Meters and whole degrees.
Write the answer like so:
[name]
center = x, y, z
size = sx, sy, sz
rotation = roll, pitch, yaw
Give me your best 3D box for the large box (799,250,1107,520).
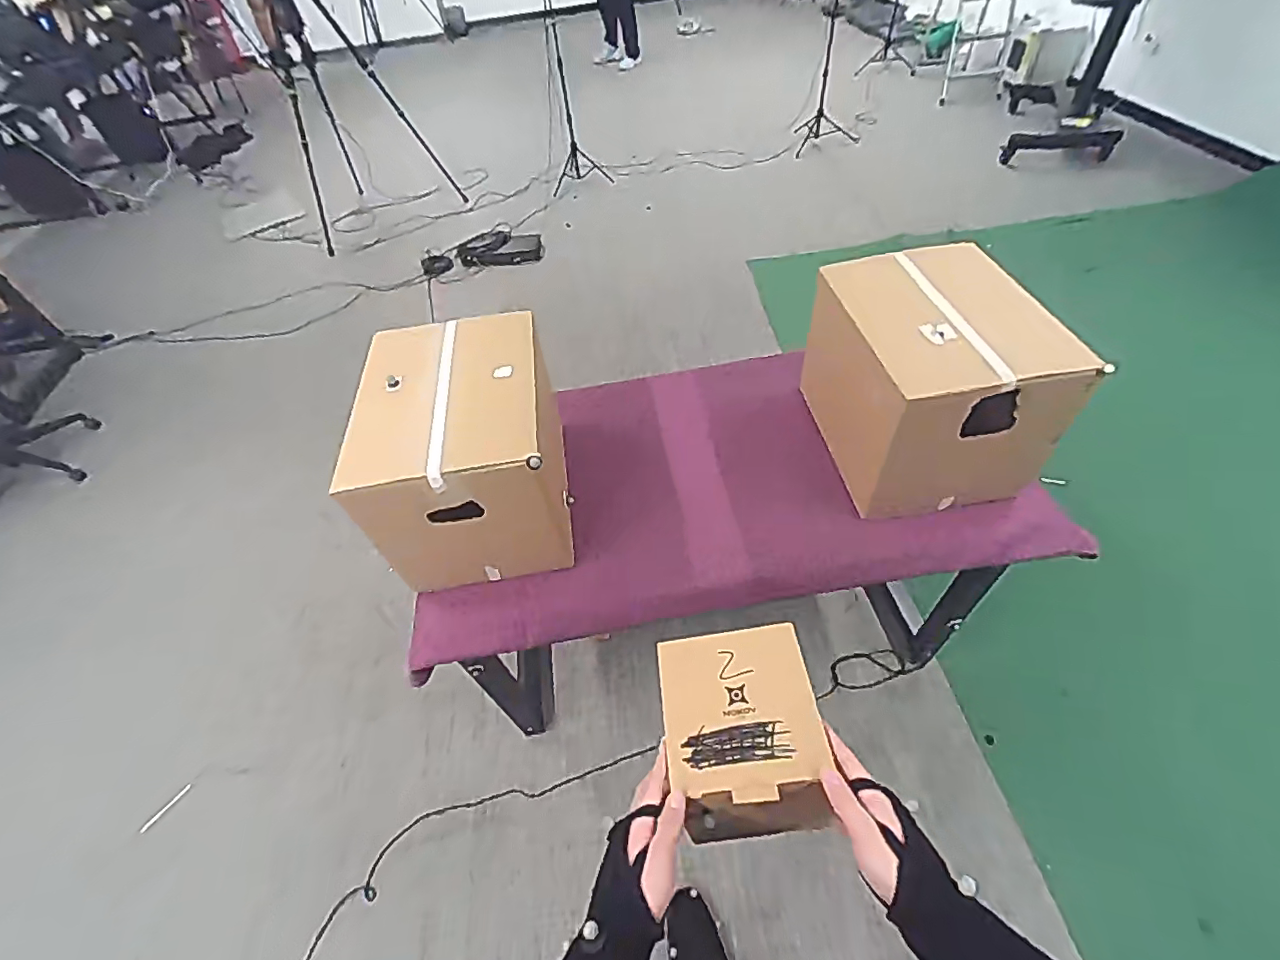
[large box]
center = 0.538, -0.186, 1.047
size = 0.320, 0.320, 0.408
rotation = -9, 51, 0
